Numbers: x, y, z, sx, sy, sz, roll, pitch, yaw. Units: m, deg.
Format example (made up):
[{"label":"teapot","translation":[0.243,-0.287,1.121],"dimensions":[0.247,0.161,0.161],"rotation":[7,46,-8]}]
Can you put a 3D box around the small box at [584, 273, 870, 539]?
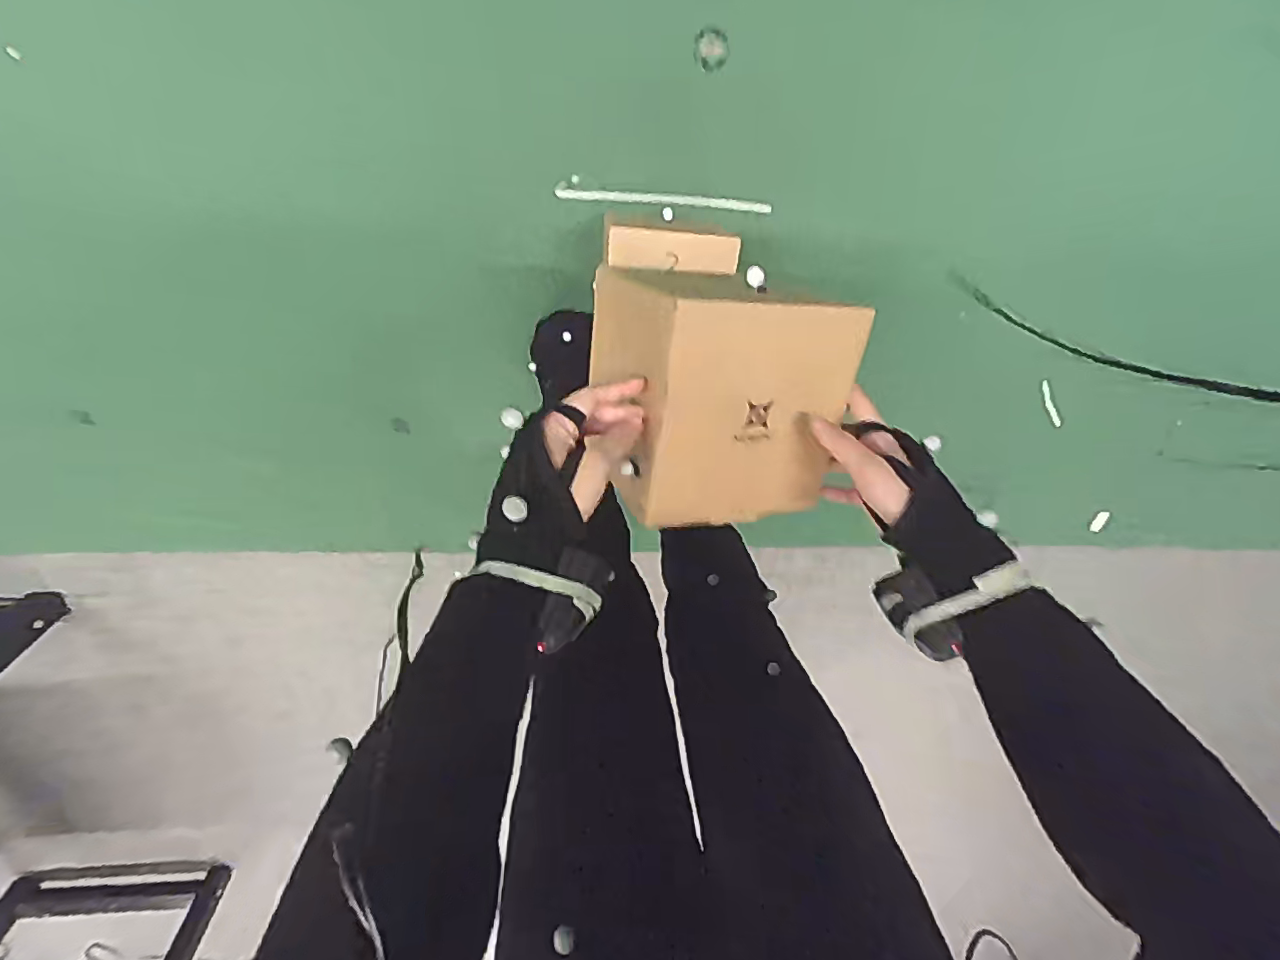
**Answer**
[{"label":"small box","translation":[0.055,-0.075,0.465],"dimensions":[0.168,0.176,0.179],"rotation":[-6,120,-22]}]
